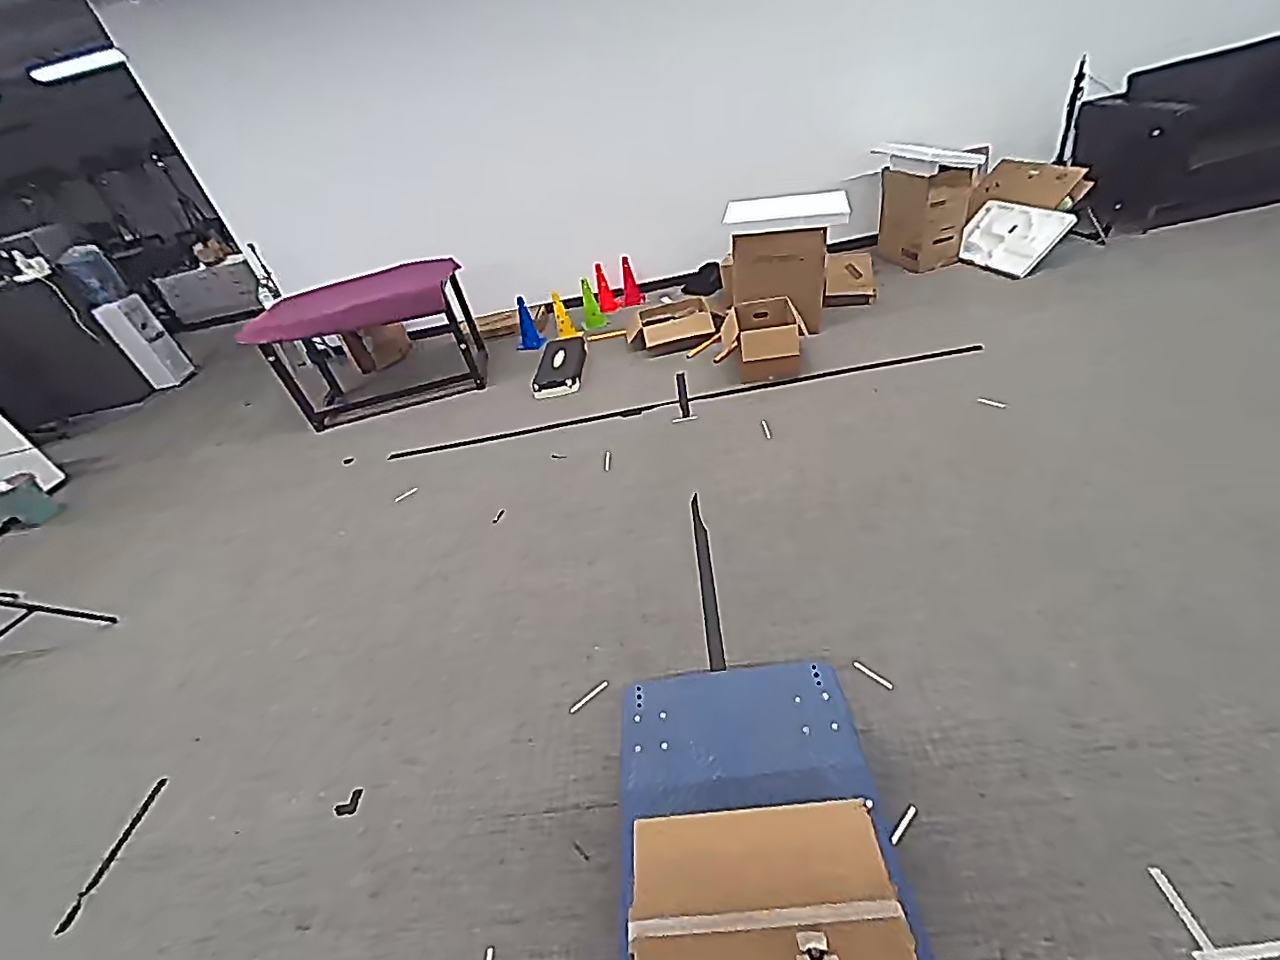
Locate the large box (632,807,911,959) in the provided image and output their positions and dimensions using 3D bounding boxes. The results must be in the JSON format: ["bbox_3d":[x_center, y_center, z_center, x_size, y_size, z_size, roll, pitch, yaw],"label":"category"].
[{"bbox_3d":[0.210,0.795,0.899,0.408,0.320,0.320,-9,37,5],"label":"large box"}]
